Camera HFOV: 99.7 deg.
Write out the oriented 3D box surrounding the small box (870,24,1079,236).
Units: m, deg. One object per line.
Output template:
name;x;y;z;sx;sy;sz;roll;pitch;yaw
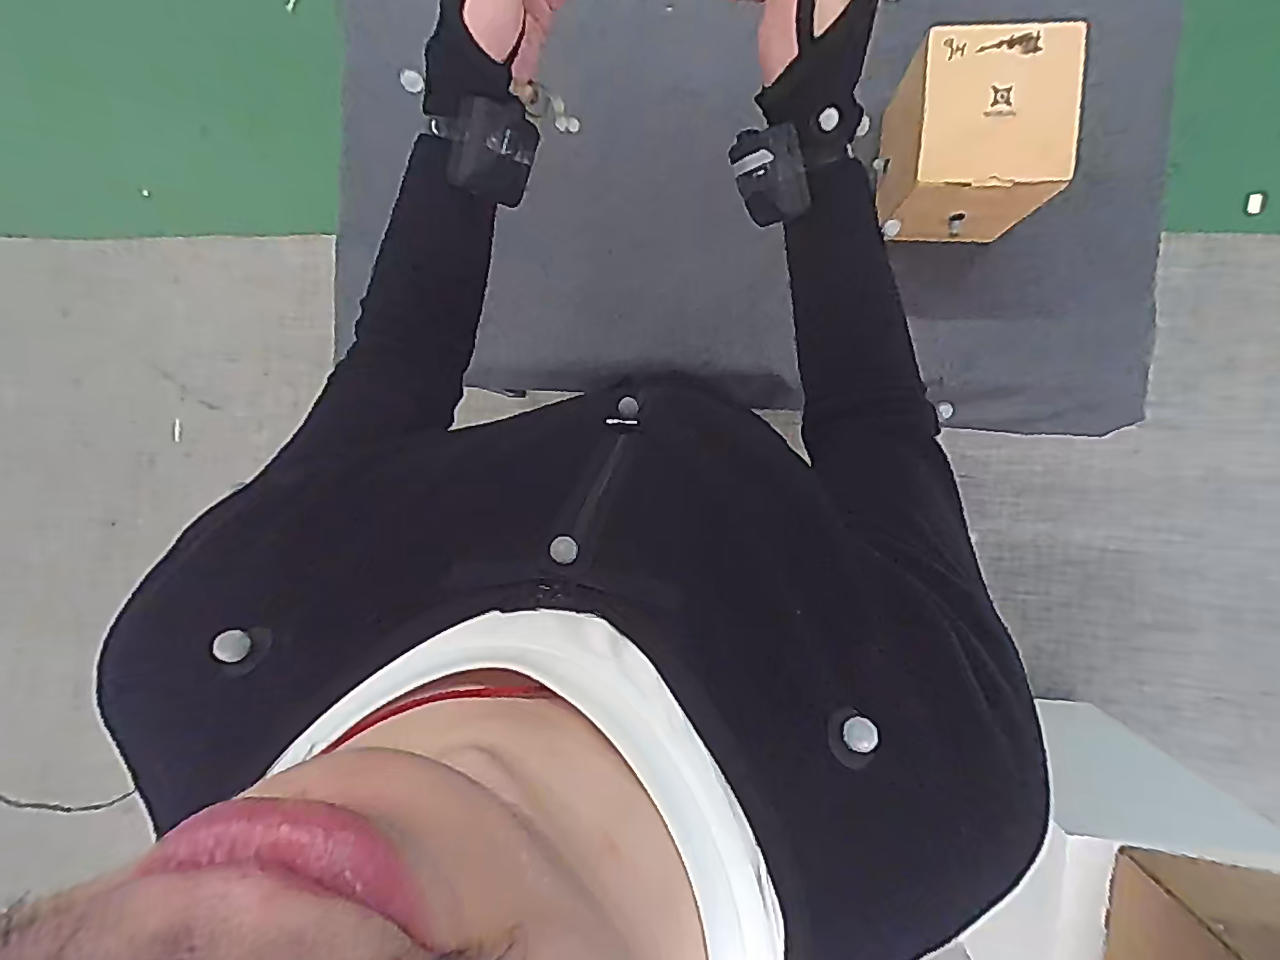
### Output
small box;0.407;-0.428;0.690;0.168;0.176;0.179;4;95;6
